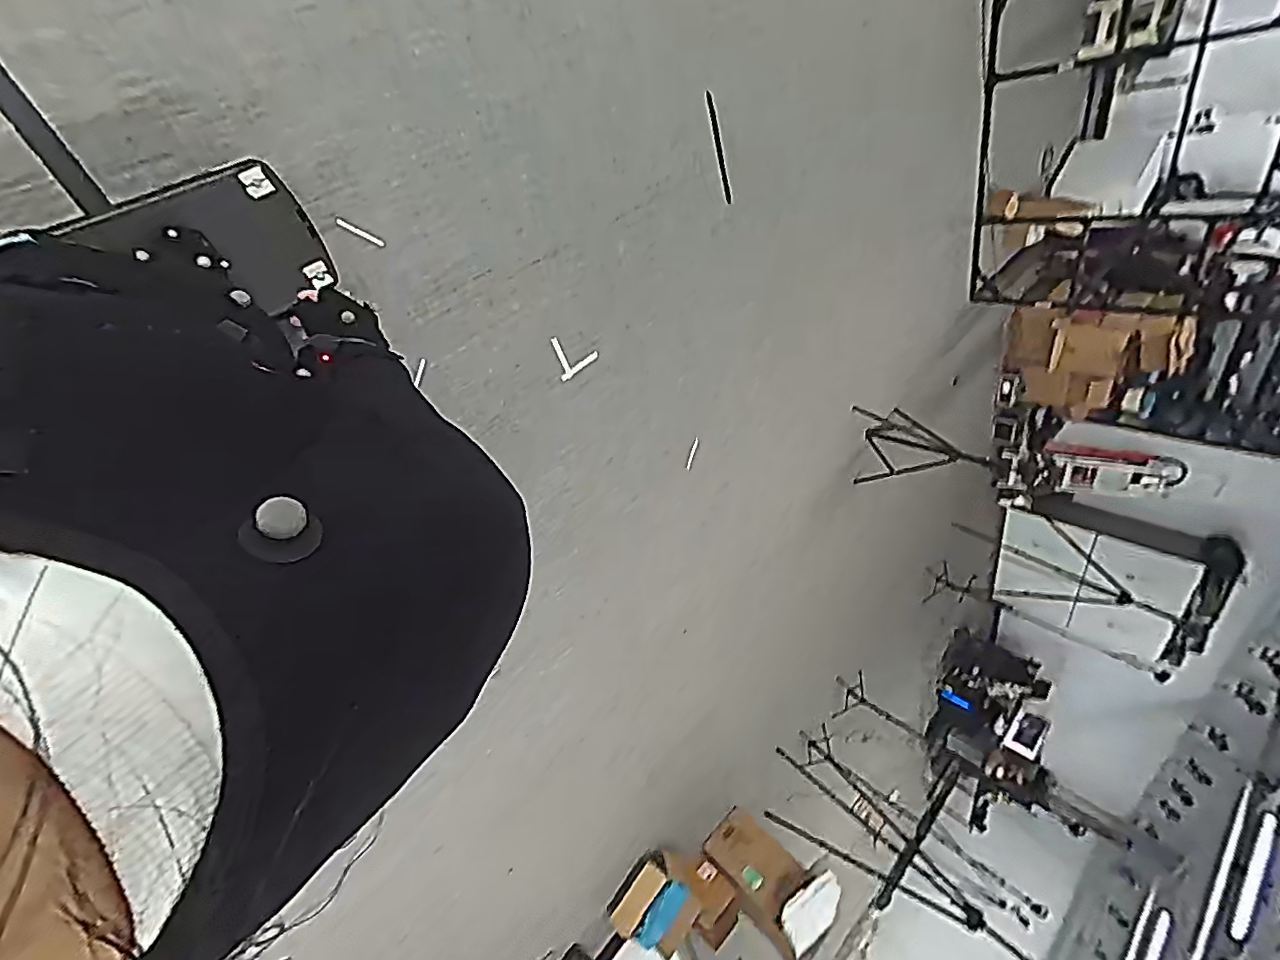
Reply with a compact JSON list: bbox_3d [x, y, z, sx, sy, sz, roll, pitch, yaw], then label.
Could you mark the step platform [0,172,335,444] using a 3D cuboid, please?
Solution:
[{"bbox_3d":[-1.018,-0.371,1.117,0.684,0.204,0.286,-42,132,-24],"label":"step platform"}]
